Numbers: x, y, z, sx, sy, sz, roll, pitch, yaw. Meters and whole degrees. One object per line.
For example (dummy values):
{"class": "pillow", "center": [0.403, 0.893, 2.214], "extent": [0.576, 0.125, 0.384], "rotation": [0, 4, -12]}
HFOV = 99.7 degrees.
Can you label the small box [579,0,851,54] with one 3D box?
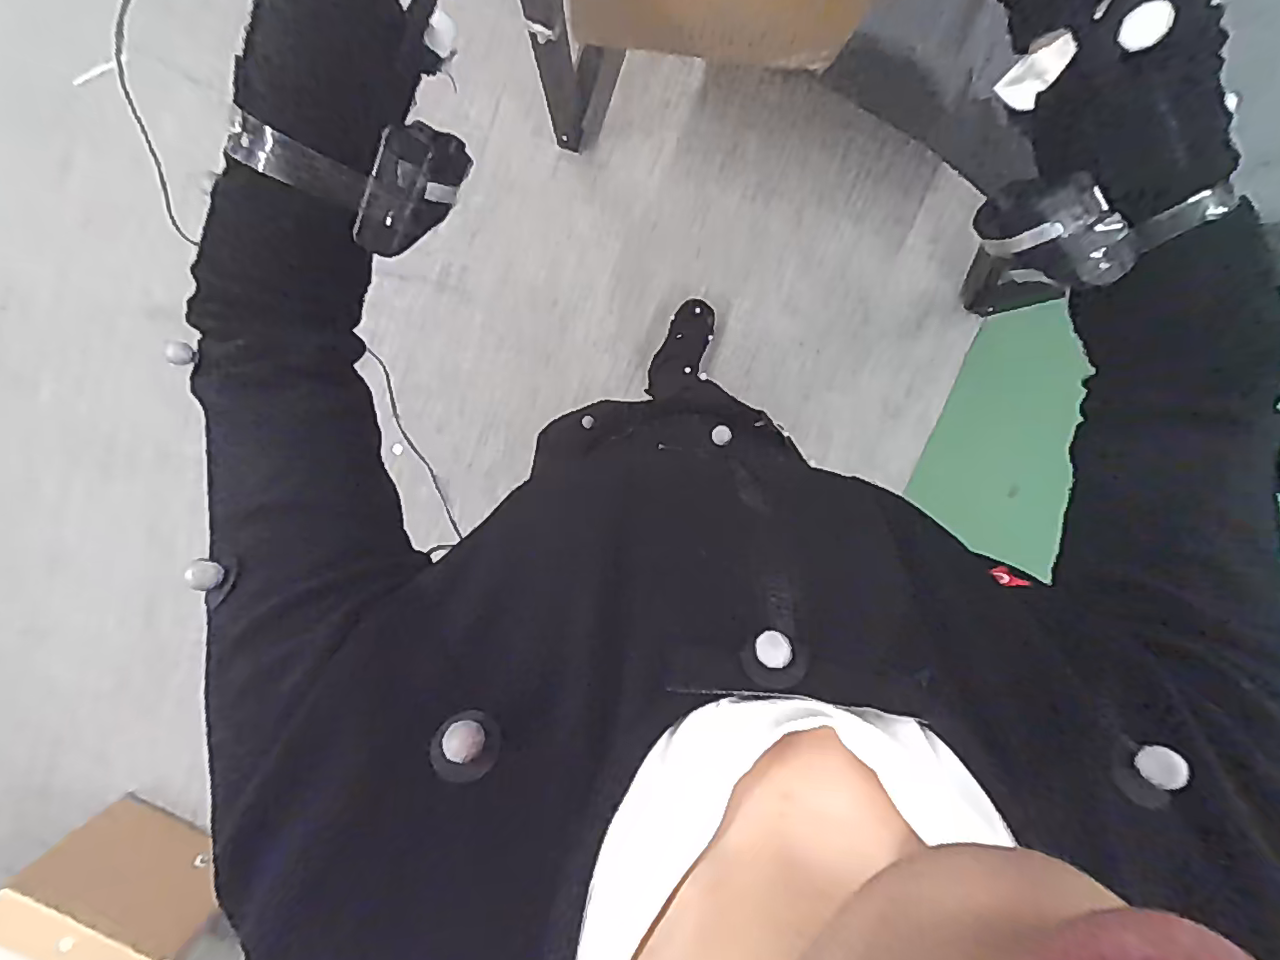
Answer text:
{"class": "small box", "center": [0.054, -0.364, 0.277], "extent": [0.179, 0.176, 0.168], "rotation": [3, 96, -5]}
